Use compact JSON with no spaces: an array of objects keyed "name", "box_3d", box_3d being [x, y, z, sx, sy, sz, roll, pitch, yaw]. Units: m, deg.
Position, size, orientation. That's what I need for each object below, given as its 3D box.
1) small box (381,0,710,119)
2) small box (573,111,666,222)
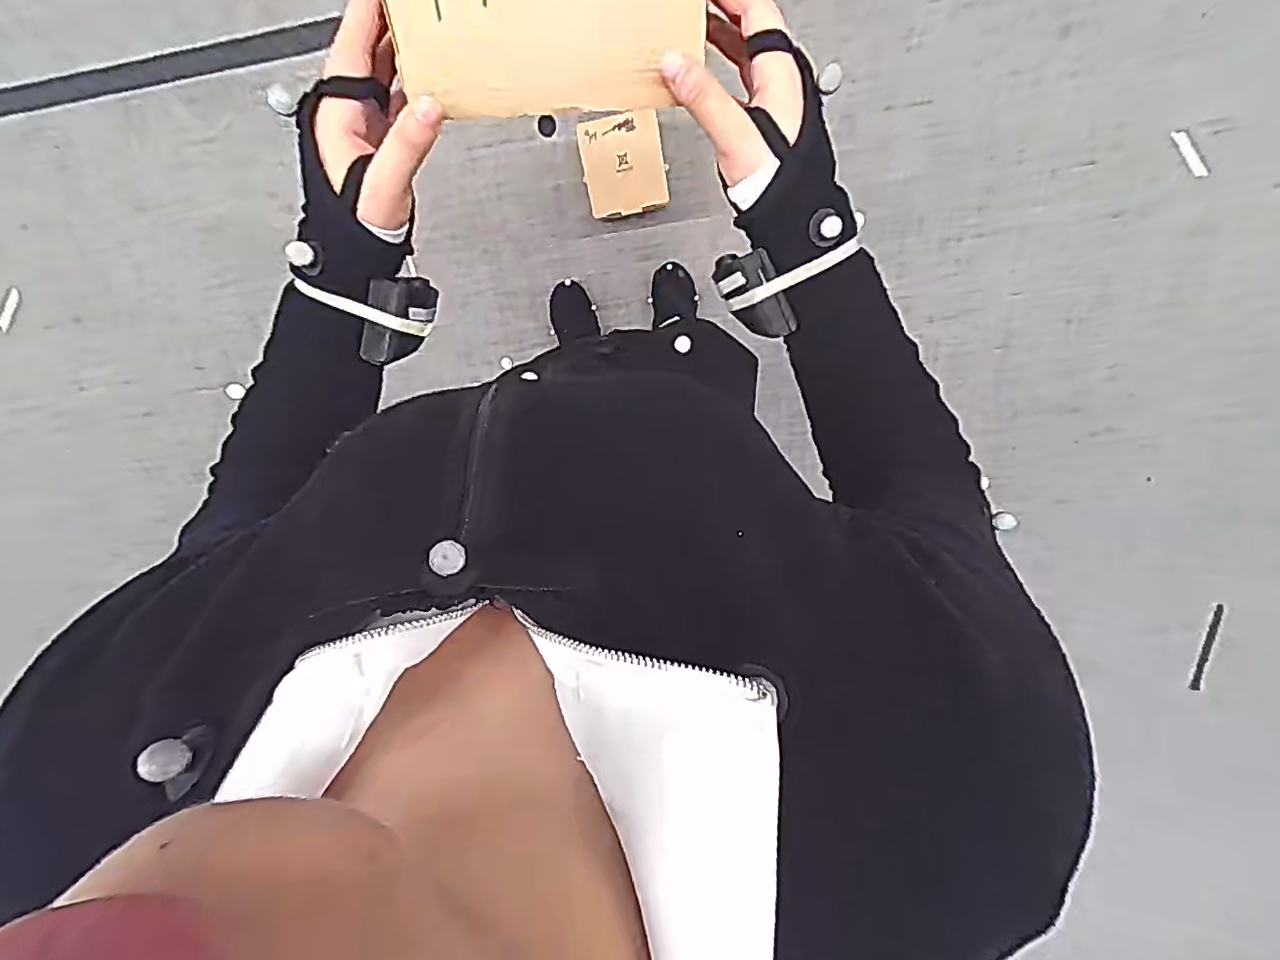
[{"name":"small box","box_3d":[-0.053,-0.326,0.332,0.179,0.176,0.168,-4,127,-1]},{"name":"small box","box_3d":[-0.036,-0.667,1.169,0.168,0.176,0.179,-9,115,5]}]
